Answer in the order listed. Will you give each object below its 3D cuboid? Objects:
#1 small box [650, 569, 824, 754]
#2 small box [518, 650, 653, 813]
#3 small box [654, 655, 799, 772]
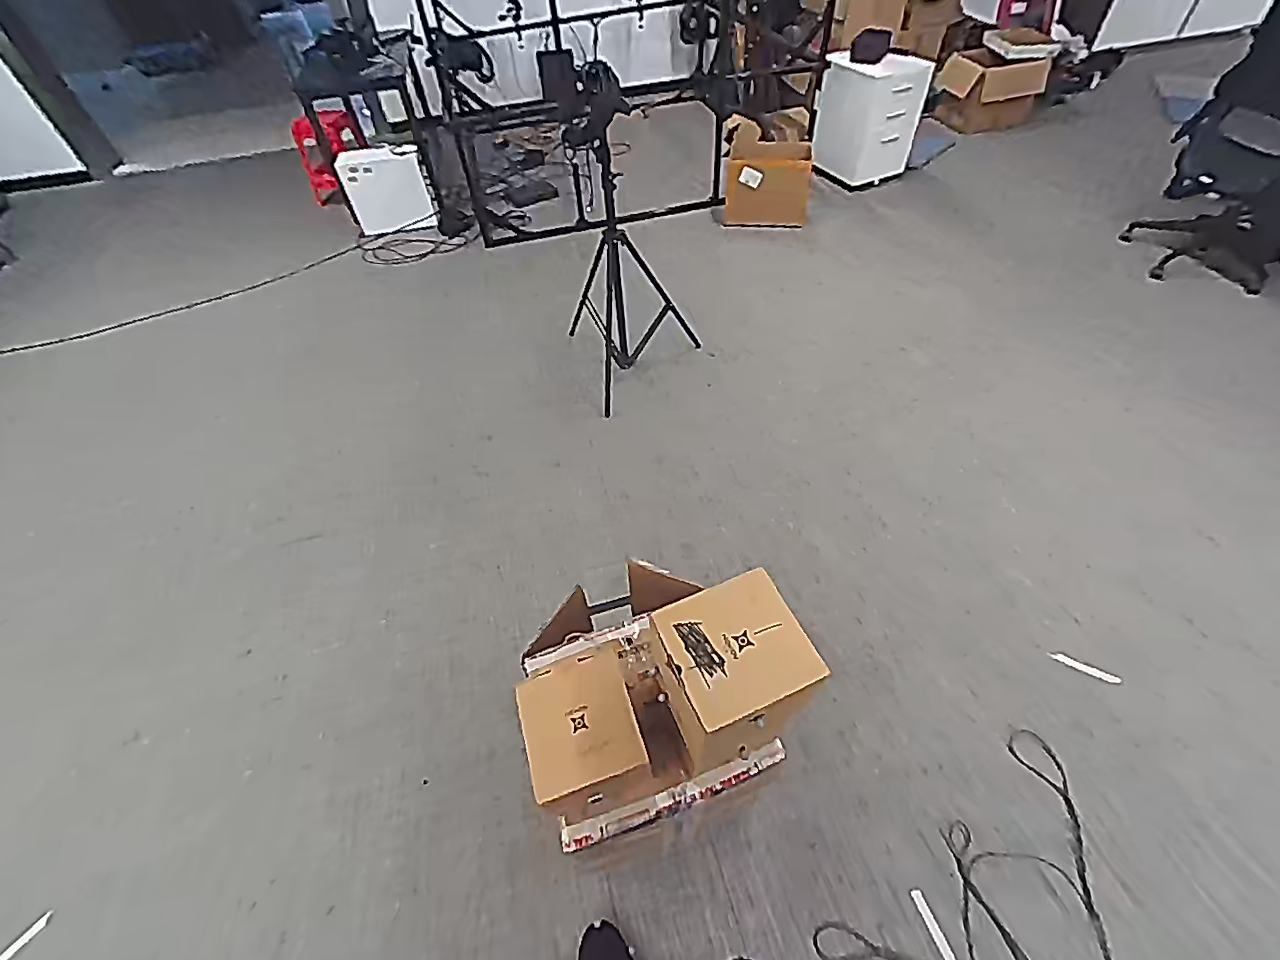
[{"bbox_3d":[0.126,0.261,0.764,0.179,0.176,0.168,-20,55,-13],"label":"small box"},{"bbox_3d":[-0.084,0.408,0.871,0.168,0.176,0.179,-18,55,-8],"label":"small box"},{"bbox_3d":[0.130,0.357,0.899,0.179,0.176,0.168,-20,54,-13],"label":"small box"}]
